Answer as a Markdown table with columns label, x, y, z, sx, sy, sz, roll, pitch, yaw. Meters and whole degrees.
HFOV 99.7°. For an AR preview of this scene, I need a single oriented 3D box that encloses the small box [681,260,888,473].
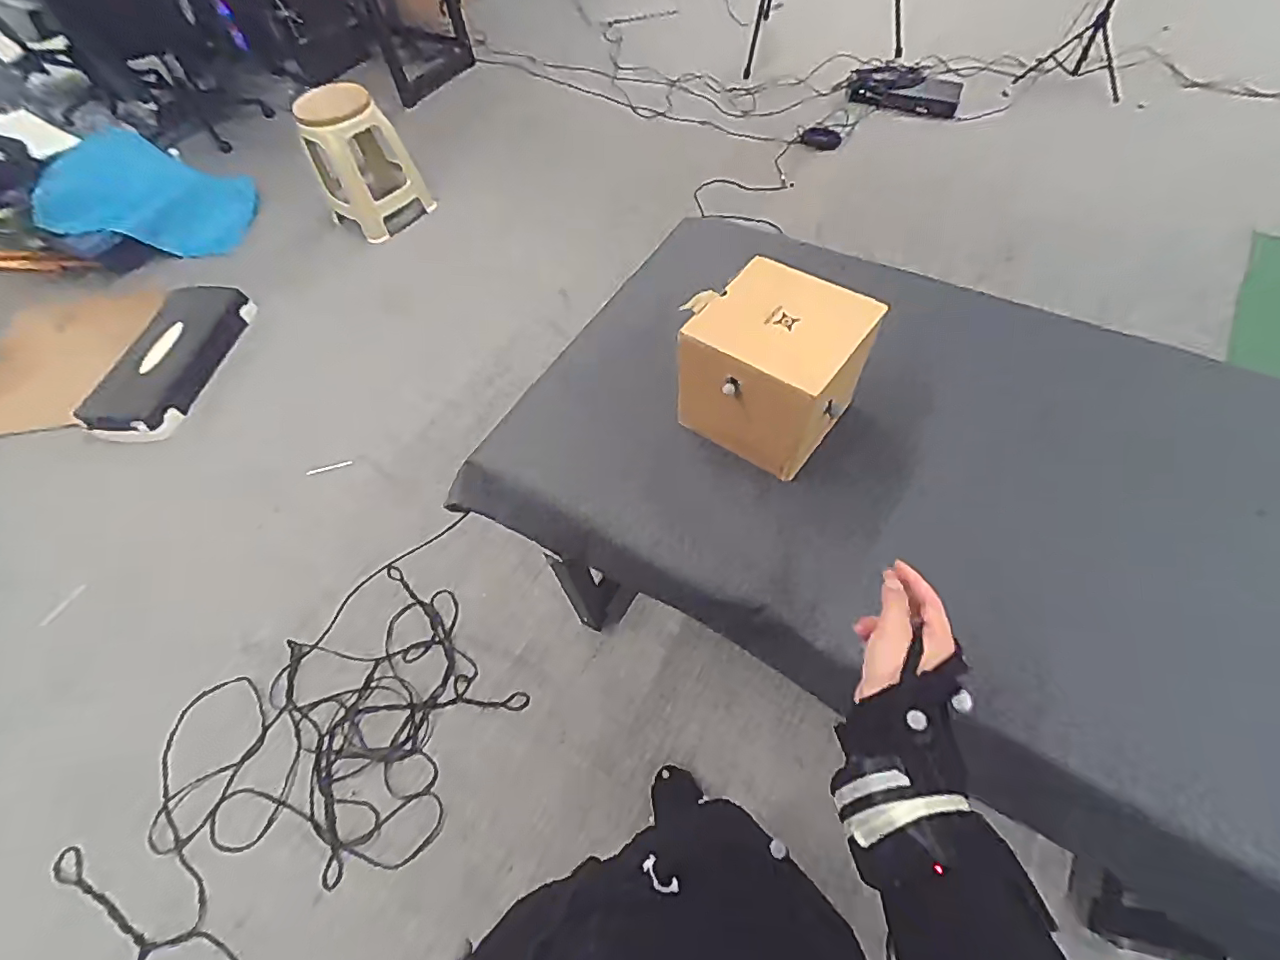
| label | x | y | z | sx | sy | sz | roll | pitch | yaw |
| --- | --- | --- | --- | --- | --- | --- | --- | --- | --- |
| small box | 0.169 | -0.133 | 0.677 | 0.179 | 0.176 | 0.168 | 32 | 65 | 23 |
